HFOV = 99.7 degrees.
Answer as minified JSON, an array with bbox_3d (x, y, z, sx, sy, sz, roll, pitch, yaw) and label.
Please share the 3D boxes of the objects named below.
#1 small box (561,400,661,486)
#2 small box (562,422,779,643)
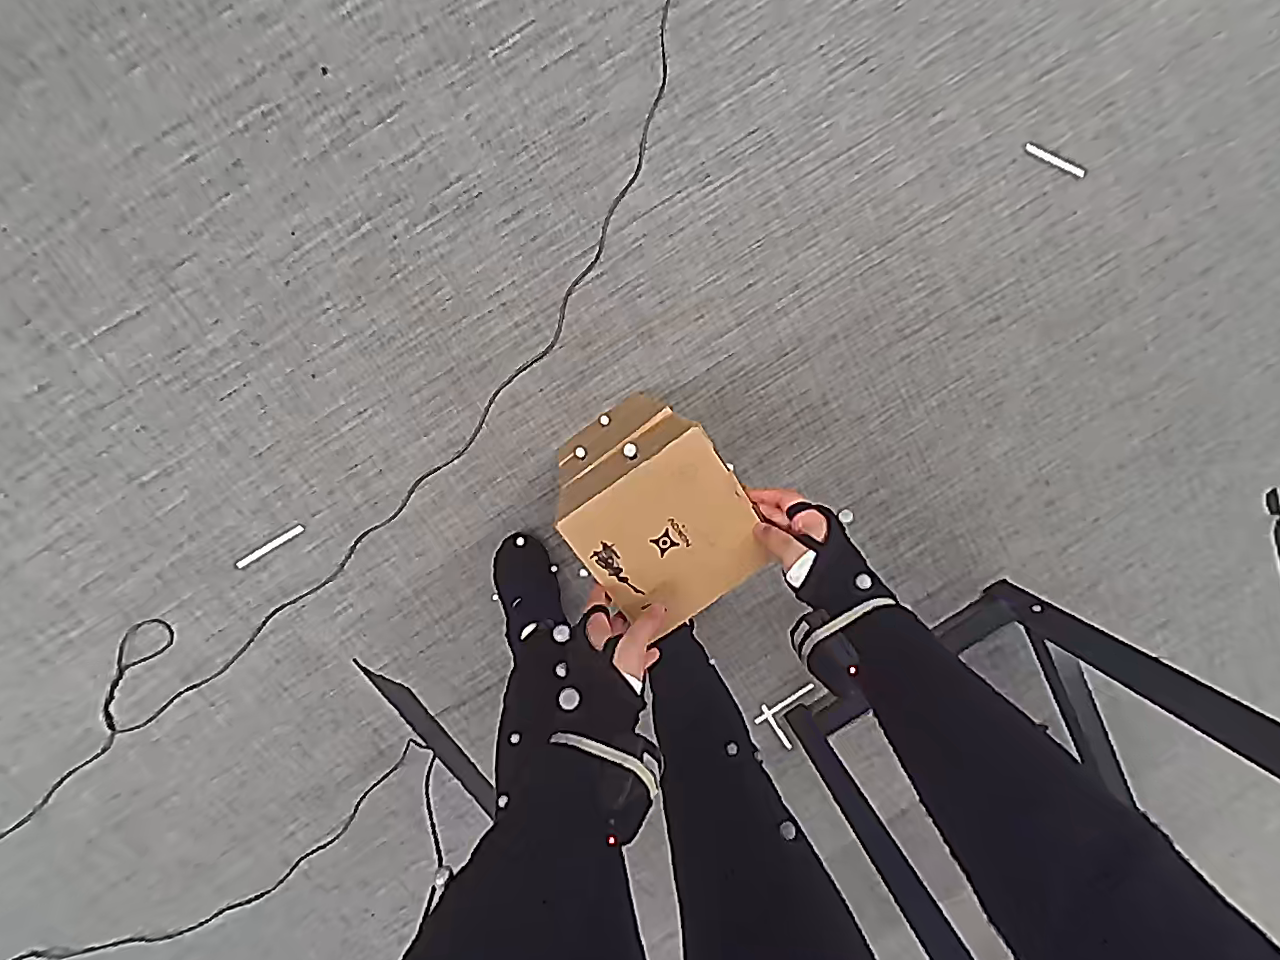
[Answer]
[{"bbox_3d":[-0.025,-0.025,0.950,0.179,0.176,0.168,-35,105,2],"label":"small box"},{"bbox_3d":[0.023,0.046,0.631,0.179,0.176,0.168,-36,102,0],"label":"small box"}]
